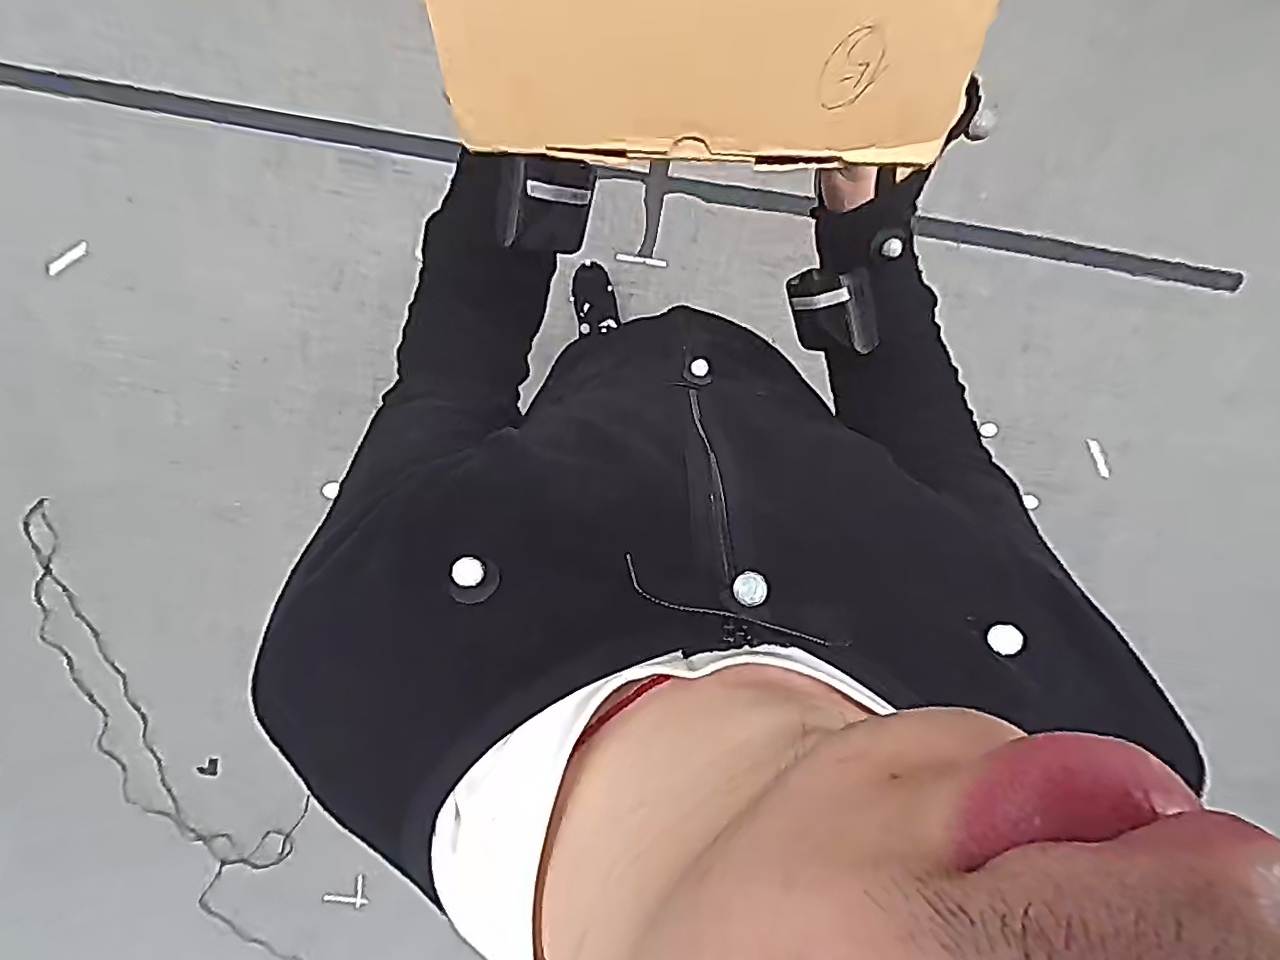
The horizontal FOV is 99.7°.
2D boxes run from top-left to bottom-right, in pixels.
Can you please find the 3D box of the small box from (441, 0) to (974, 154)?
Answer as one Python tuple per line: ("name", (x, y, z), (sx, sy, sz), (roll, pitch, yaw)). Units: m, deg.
("small box", (0.026, -0.237, 0.181), (0.168, 0.176, 0.179), (4, 140, 6))
